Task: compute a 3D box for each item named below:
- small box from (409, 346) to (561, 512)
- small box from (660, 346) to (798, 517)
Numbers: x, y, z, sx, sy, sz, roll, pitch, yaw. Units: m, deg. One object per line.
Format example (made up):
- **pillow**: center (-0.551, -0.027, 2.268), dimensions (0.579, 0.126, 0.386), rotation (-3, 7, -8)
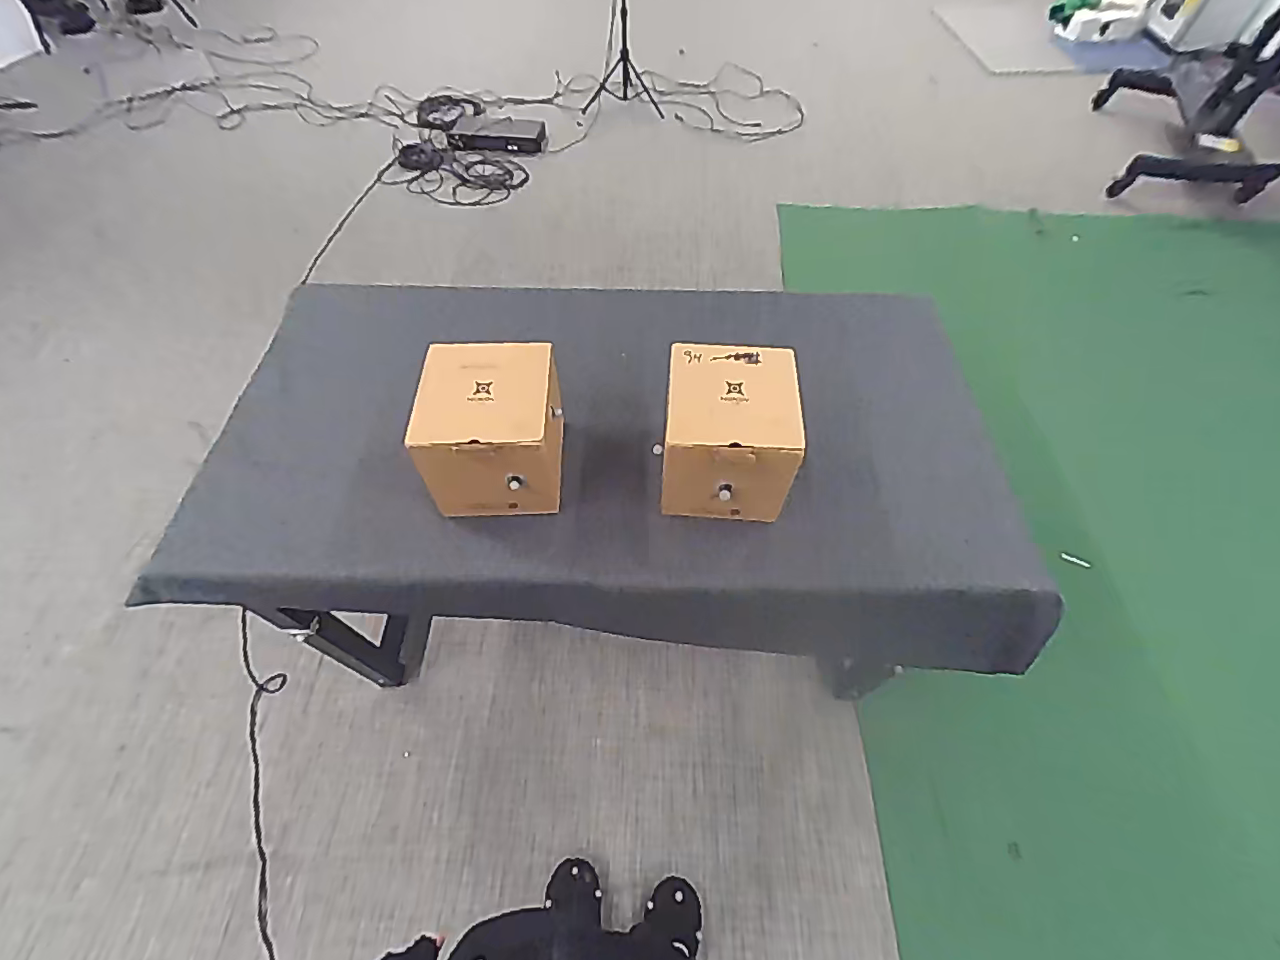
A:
- **small box**: center (-0.201, -0.065, 0.760), dimensions (0.168, 0.176, 0.179), rotation (-1, 54, -3)
- **small box**: center (0.116, -0.062, 0.759), dimensions (0.168, 0.176, 0.179), rotation (4, 57, 2)
